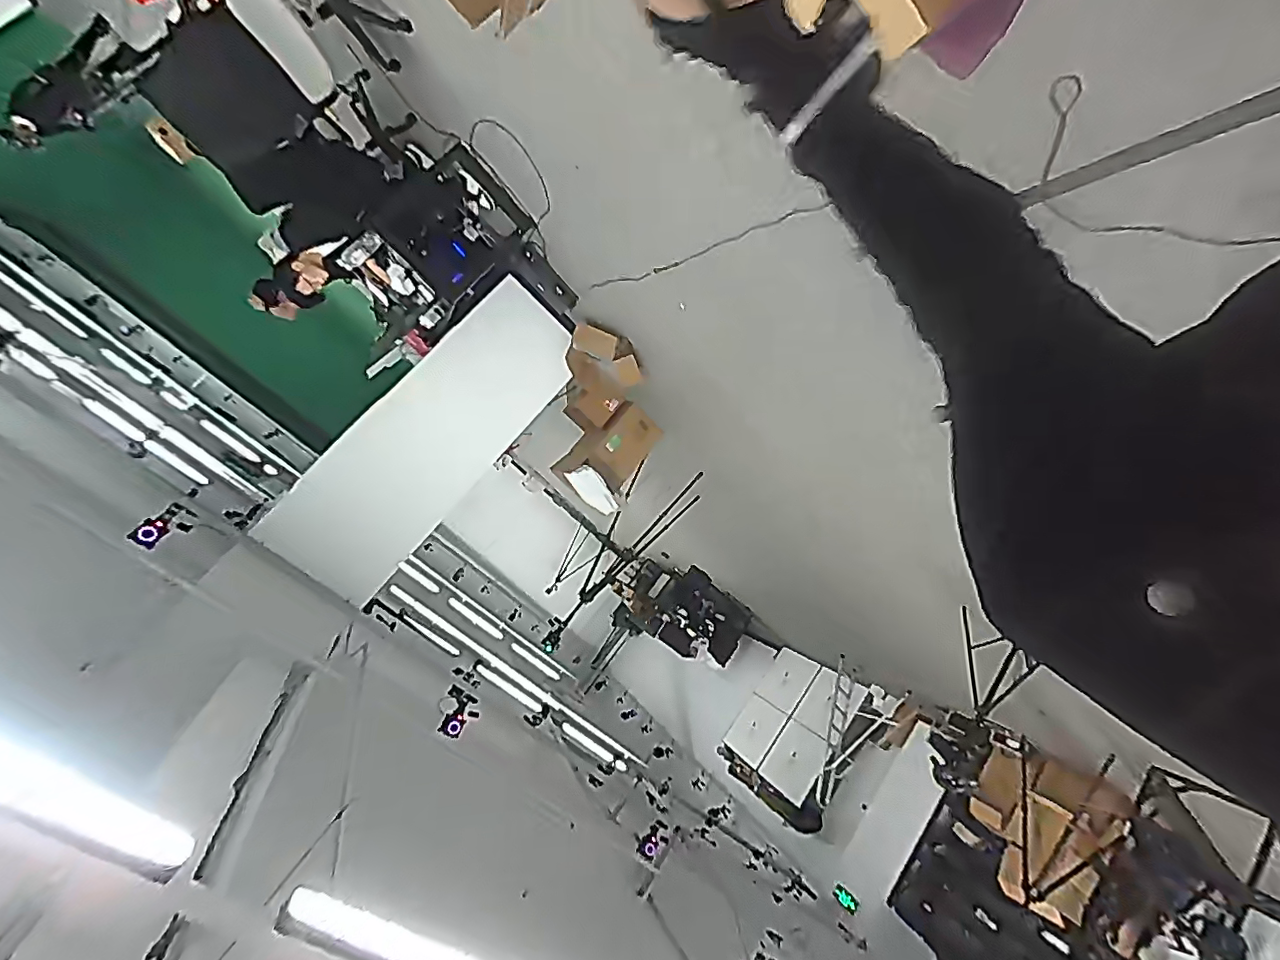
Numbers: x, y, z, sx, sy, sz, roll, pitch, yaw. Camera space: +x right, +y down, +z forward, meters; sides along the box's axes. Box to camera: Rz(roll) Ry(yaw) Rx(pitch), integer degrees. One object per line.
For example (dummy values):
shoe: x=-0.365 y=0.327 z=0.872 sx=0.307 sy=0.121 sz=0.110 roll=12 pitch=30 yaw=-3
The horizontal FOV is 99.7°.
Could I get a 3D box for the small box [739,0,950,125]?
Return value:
small box: x=0.258 y=-0.581 z=0.634 sx=0.168 sy=0.176 sz=0.179 roll=43 pitch=165 yaw=-16
